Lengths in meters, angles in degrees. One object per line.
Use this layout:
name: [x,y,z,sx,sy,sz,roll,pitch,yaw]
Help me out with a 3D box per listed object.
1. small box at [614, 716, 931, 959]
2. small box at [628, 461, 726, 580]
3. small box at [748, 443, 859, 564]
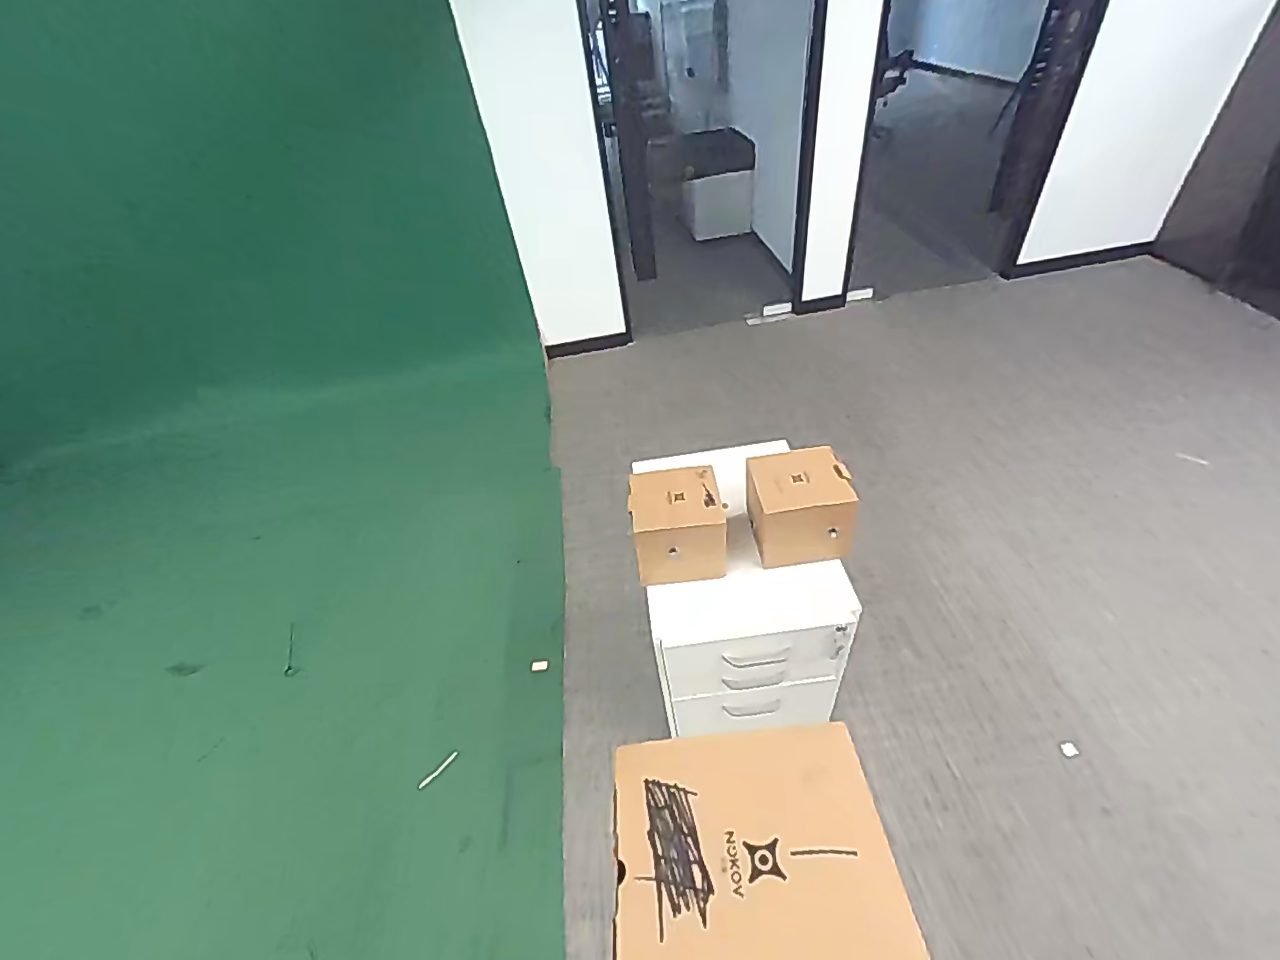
small box: [0.082,0.298,0.390,0.179,0.176,0.168,-7,36,3]
small box: [0.075,0.086,1.093,0.179,0.176,0.168,-7,44,1]
small box: [0.318,0.050,1.093,0.179,0.176,0.168,-9,43,3]
